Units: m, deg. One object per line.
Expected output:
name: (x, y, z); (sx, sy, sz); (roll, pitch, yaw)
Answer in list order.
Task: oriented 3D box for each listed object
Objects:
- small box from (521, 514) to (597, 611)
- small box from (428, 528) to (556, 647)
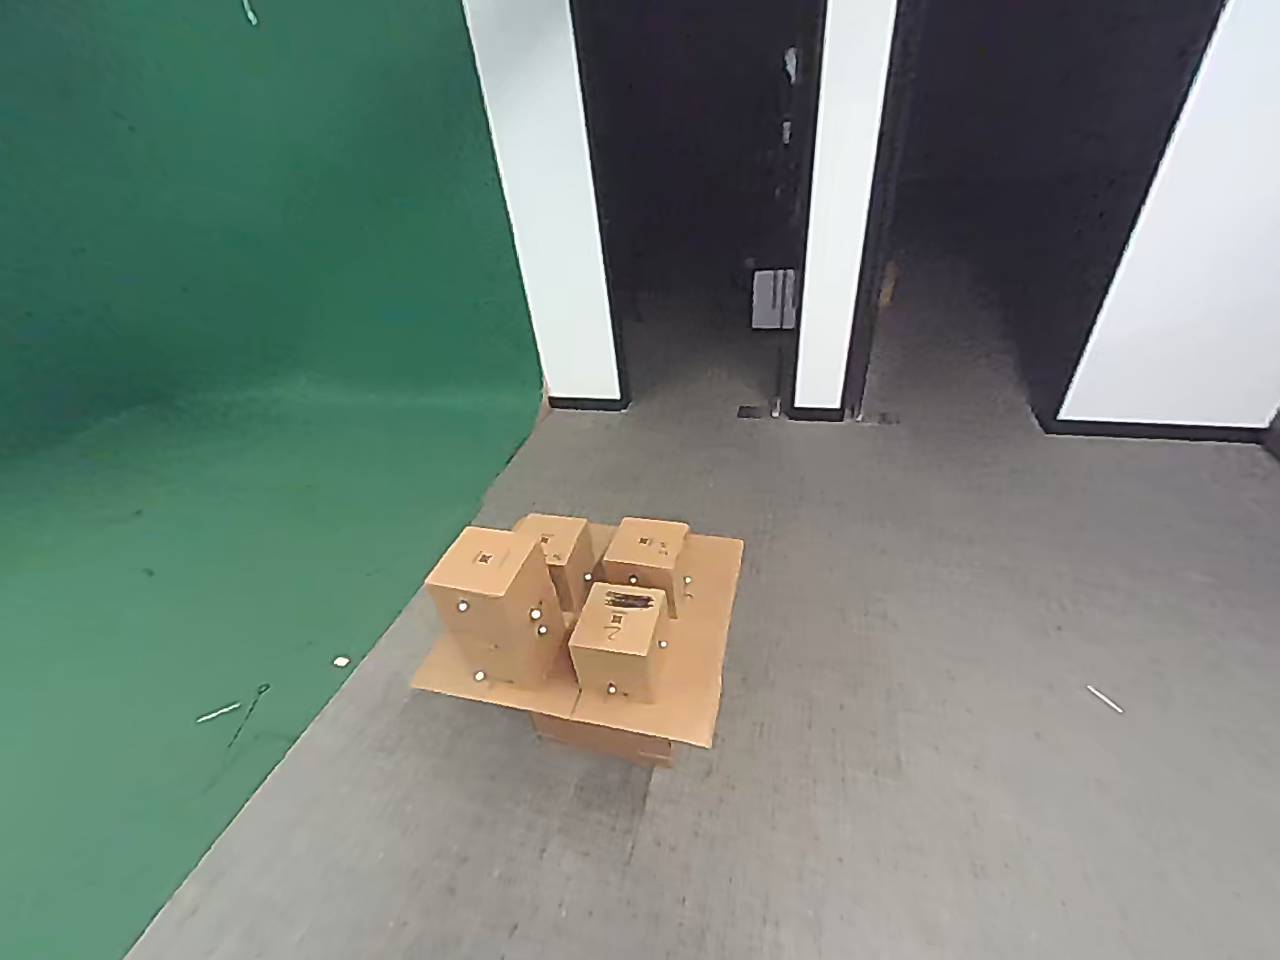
small box: (-0.218, 0.211, 1.400); (0.168, 0.176, 0.179); (2, 36, 16)
small box: (-0.297, 0.223, 1.122); (0.179, 0.176, 0.168); (6, 39, 17)
